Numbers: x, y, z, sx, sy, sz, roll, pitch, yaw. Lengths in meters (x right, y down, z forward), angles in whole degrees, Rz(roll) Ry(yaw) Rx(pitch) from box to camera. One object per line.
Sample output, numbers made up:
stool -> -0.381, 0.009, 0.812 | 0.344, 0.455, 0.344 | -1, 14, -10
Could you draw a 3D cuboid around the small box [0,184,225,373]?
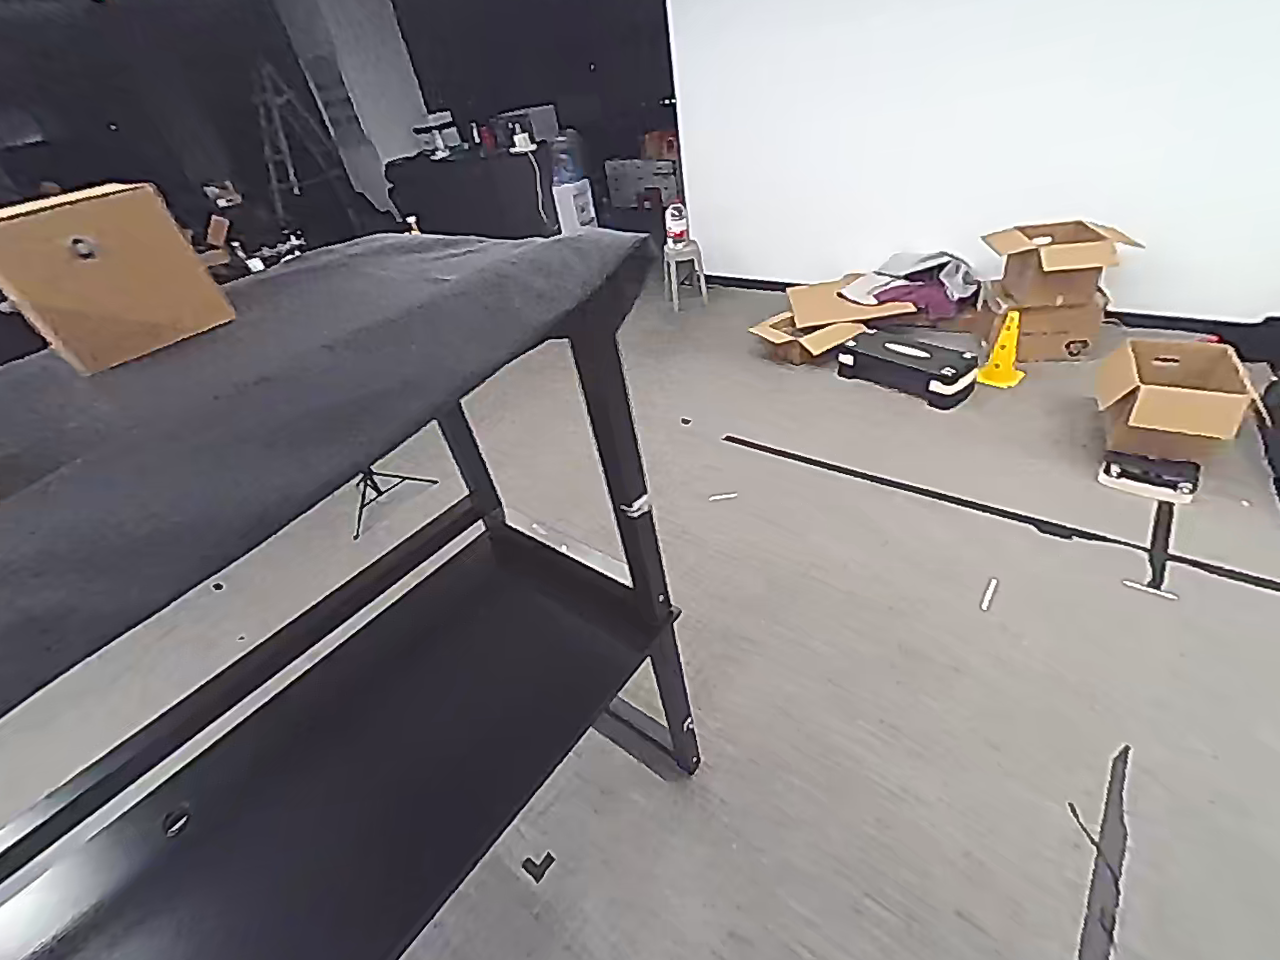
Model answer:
small box -> -0.677, -0.251, 0.671 | 0.168, 0.176, 0.179 | 20, 48, 34
